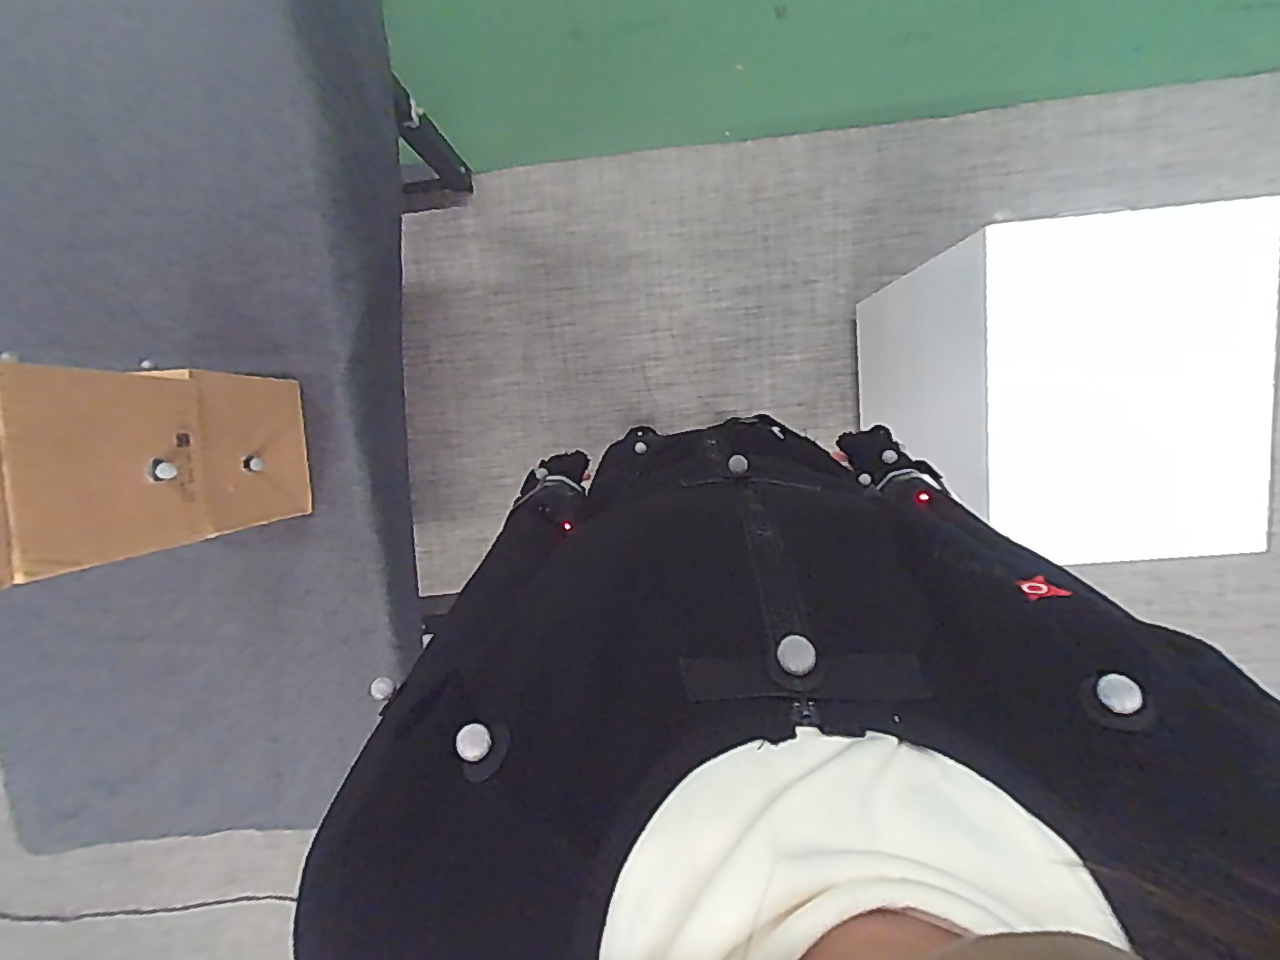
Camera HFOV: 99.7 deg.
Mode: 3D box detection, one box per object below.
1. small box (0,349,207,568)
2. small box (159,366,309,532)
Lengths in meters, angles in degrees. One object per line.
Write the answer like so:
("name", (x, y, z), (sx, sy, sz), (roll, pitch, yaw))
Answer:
("small box", (-0.546, -0.021, 0.485), (0.179, 0.176, 0.168), (-2, 97, 6))
("small box", (-0.530, -0.041, 0.648), (0.168, 0.176, 0.179), (-2, 97, 4))
